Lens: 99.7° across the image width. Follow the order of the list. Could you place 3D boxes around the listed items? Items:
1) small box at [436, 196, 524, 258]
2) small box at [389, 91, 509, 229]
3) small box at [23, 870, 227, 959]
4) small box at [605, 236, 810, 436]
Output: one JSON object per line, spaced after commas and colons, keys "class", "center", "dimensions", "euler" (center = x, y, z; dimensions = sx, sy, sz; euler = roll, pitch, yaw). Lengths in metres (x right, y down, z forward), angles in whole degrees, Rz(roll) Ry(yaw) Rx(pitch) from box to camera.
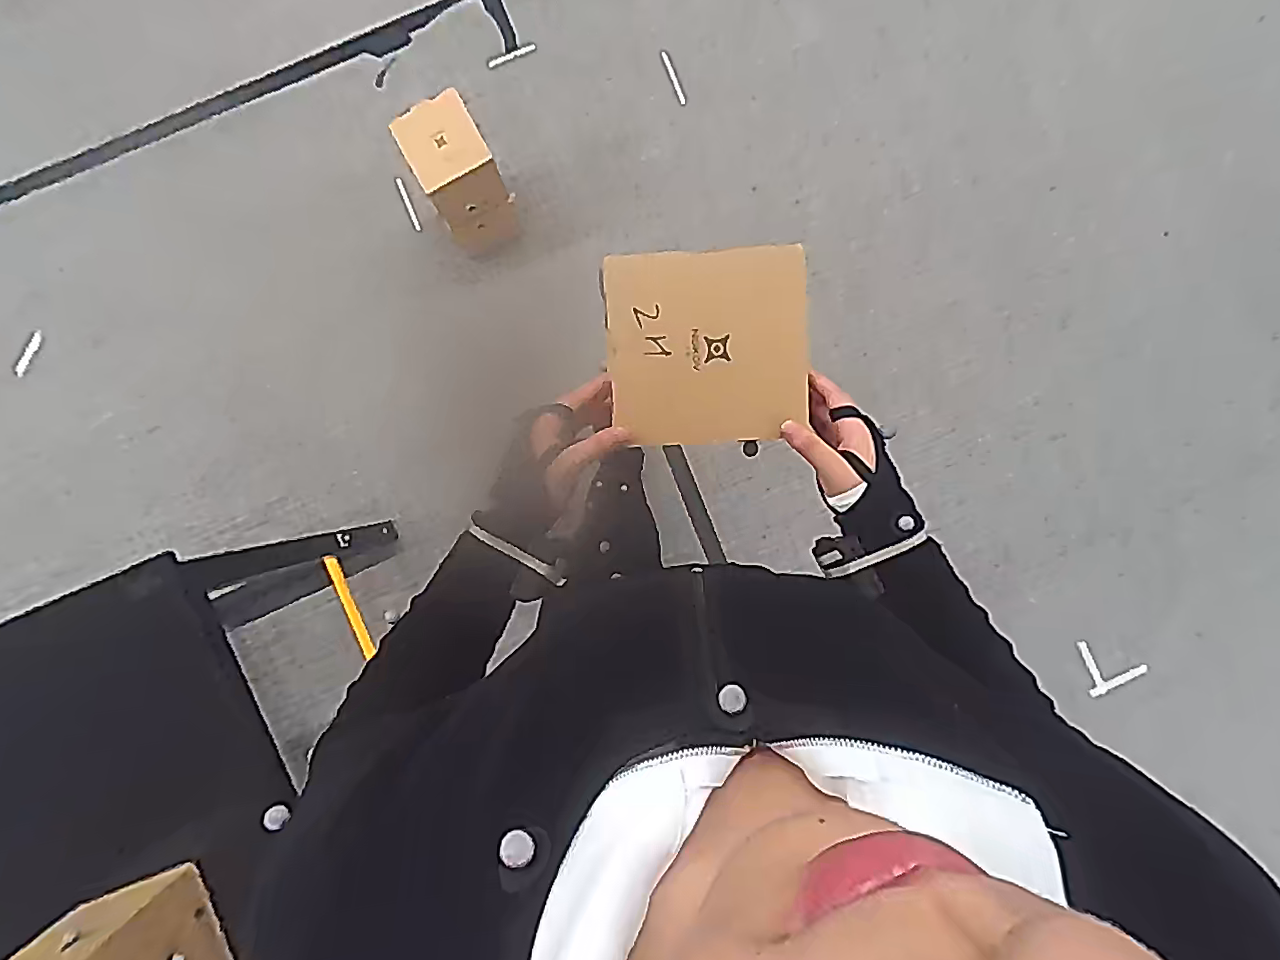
{"class": "small box", "center": [-0.421, -0.702, 1.386], "dimensions": [0.179, 0.176, 0.168], "euler": [-26, 91, -2]}
{"class": "small box", "center": [-0.422, -0.712, 1.223], "dimensions": [0.168, 0.176, 0.179], "euler": [-30, 92, 0]}
{"class": "small box", "center": [-0.651, 0.628, 0.657], "dimensions": [0.179, 0.176, 0.168], "euler": [-22, 91, -1]}
{"class": "small box", "center": [0.060, -0.134, 0.548], "dimensions": [0.179, 0.176, 0.168], "euler": [-3, 97, 1]}
